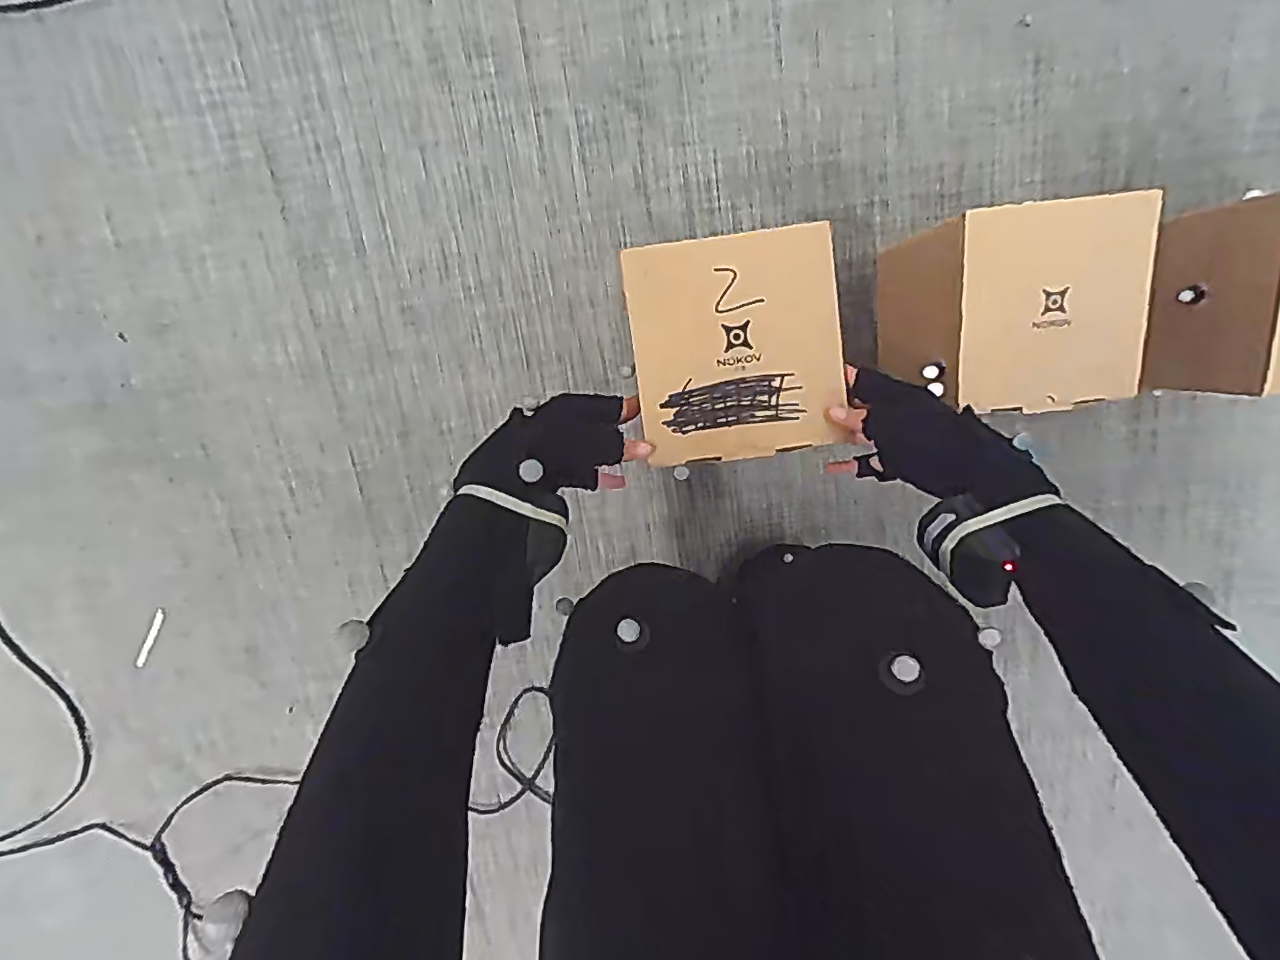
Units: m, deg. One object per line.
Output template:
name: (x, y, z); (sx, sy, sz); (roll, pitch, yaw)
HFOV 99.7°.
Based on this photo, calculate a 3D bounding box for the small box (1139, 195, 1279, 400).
small box: (0.628, -0.182, 0.545); (0.168, 0.176, 0.179); (-6, 102, 1)

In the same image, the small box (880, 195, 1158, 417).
small box: (0.359, -0.165, 0.549); (0.168, 0.176, 0.179); (-6, 103, 1)
